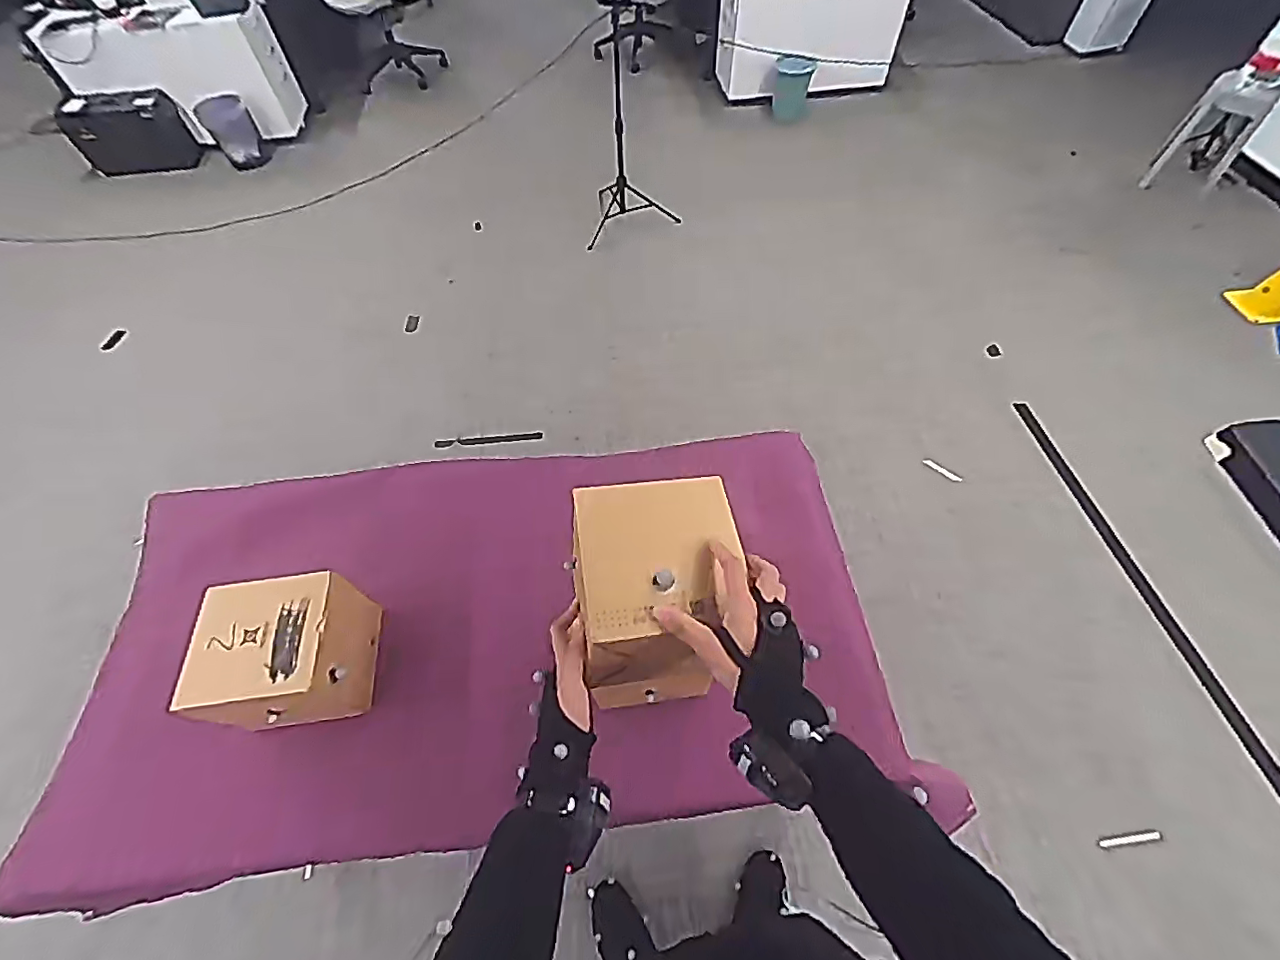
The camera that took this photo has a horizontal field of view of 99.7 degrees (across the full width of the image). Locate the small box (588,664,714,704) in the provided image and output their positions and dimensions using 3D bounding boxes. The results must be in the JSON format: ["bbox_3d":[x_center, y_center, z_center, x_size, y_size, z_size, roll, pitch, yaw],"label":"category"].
[{"bbox_3d":[0.009,0.222,0.799,0.168,0.176,0.179,-6,57,-3],"label":"small box"}]

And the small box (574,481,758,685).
[{"bbox_3d":[0.016,0.122,0.611,0.168,0.179,0.176,-6,58,-10],"label":"small box"}]
